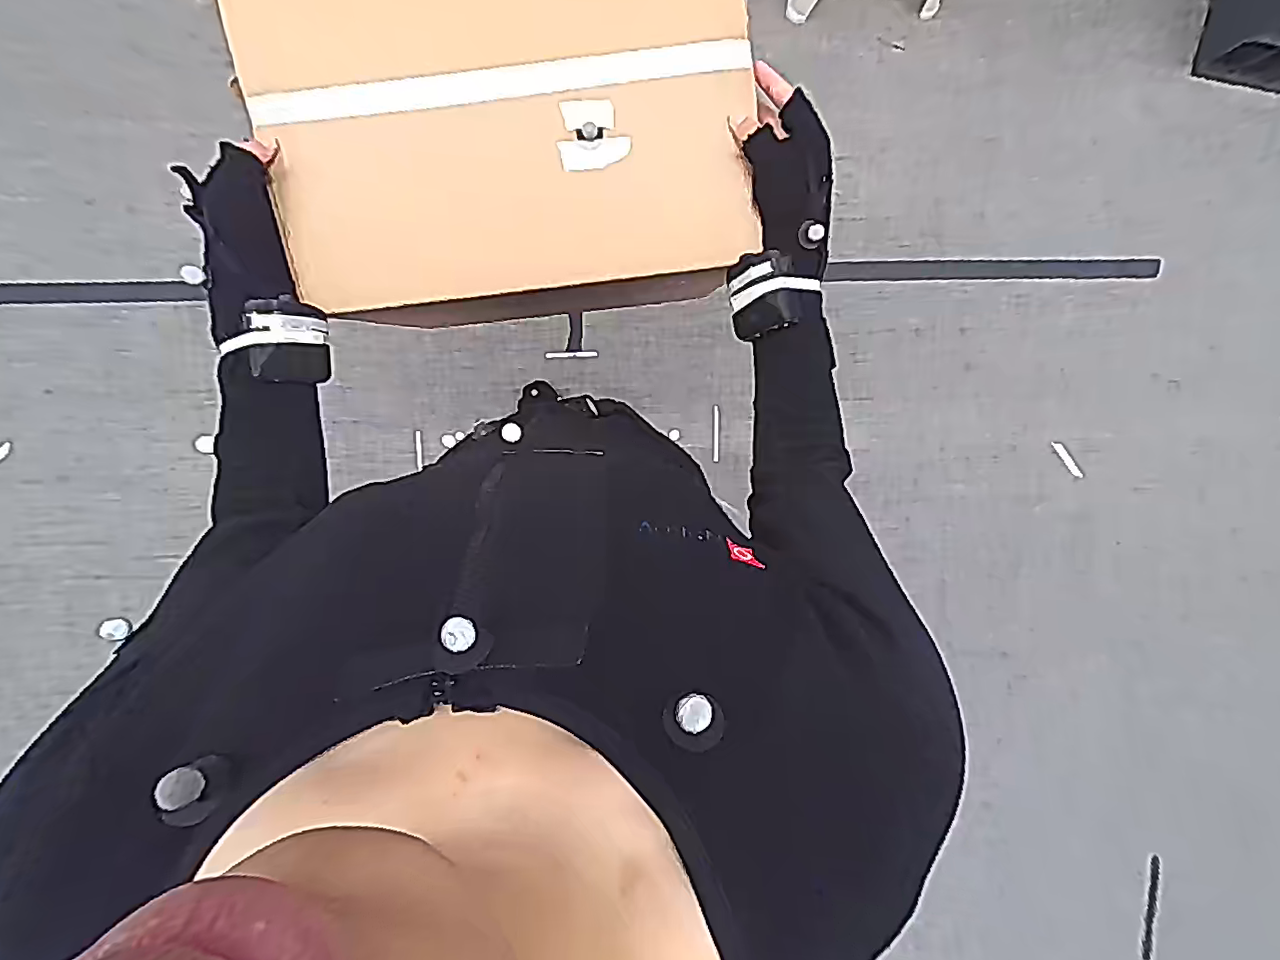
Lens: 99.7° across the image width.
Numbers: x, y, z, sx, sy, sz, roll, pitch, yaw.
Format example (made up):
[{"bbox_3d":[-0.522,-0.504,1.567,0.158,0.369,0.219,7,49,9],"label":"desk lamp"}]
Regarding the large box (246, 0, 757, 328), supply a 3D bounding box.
[{"bbox_3d":[-0.117,-0.358,0.599,0.408,0.320,0.320,-7,104,-1],"label":"large box"}]
